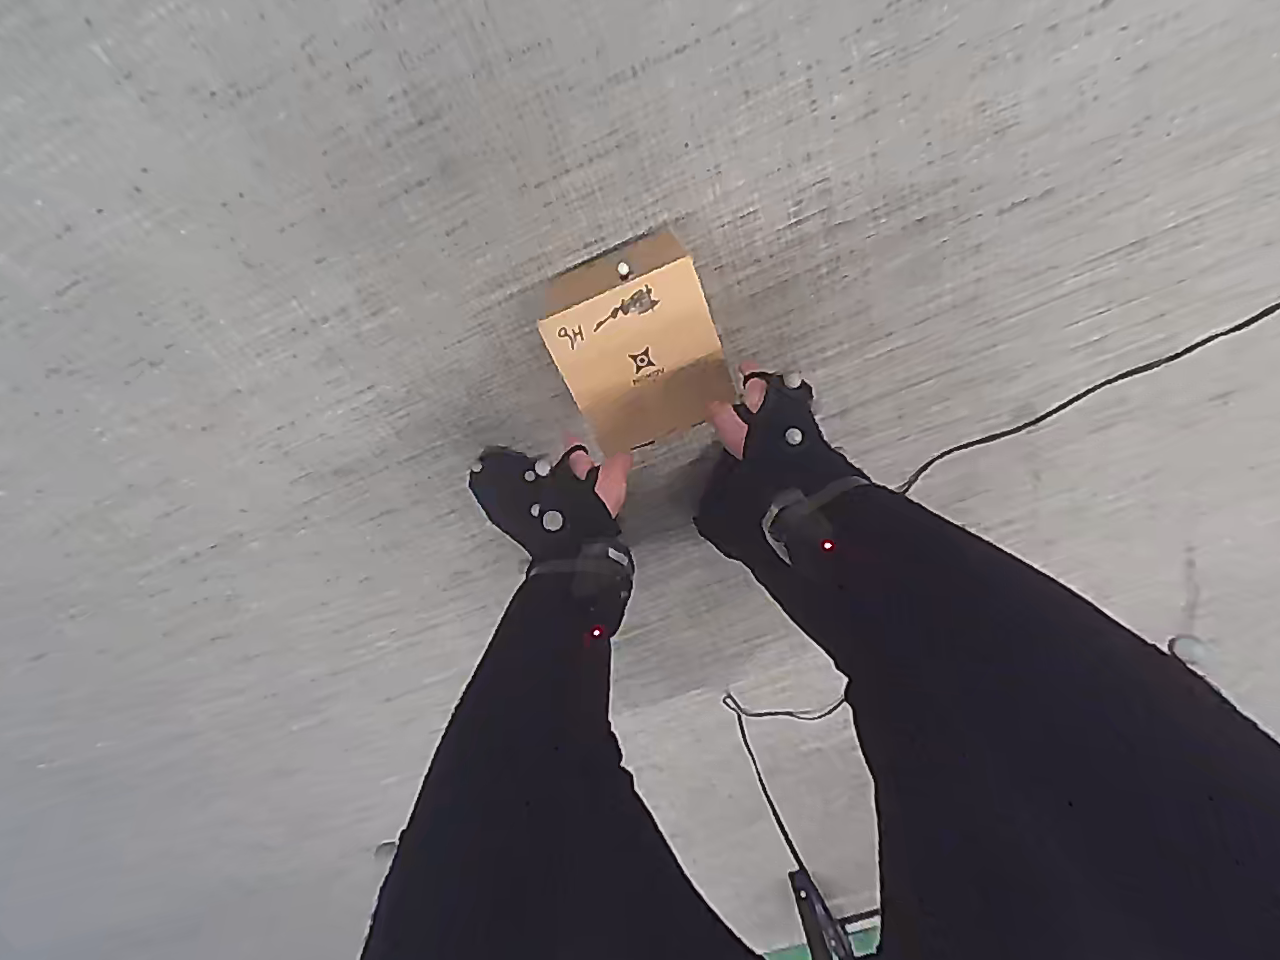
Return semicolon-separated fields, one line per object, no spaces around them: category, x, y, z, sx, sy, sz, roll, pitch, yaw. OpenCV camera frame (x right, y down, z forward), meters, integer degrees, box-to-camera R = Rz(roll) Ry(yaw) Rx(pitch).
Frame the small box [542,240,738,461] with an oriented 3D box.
small box;0.001;-0.158;0.643;0.168;0.176;0.179;-21;122;8
